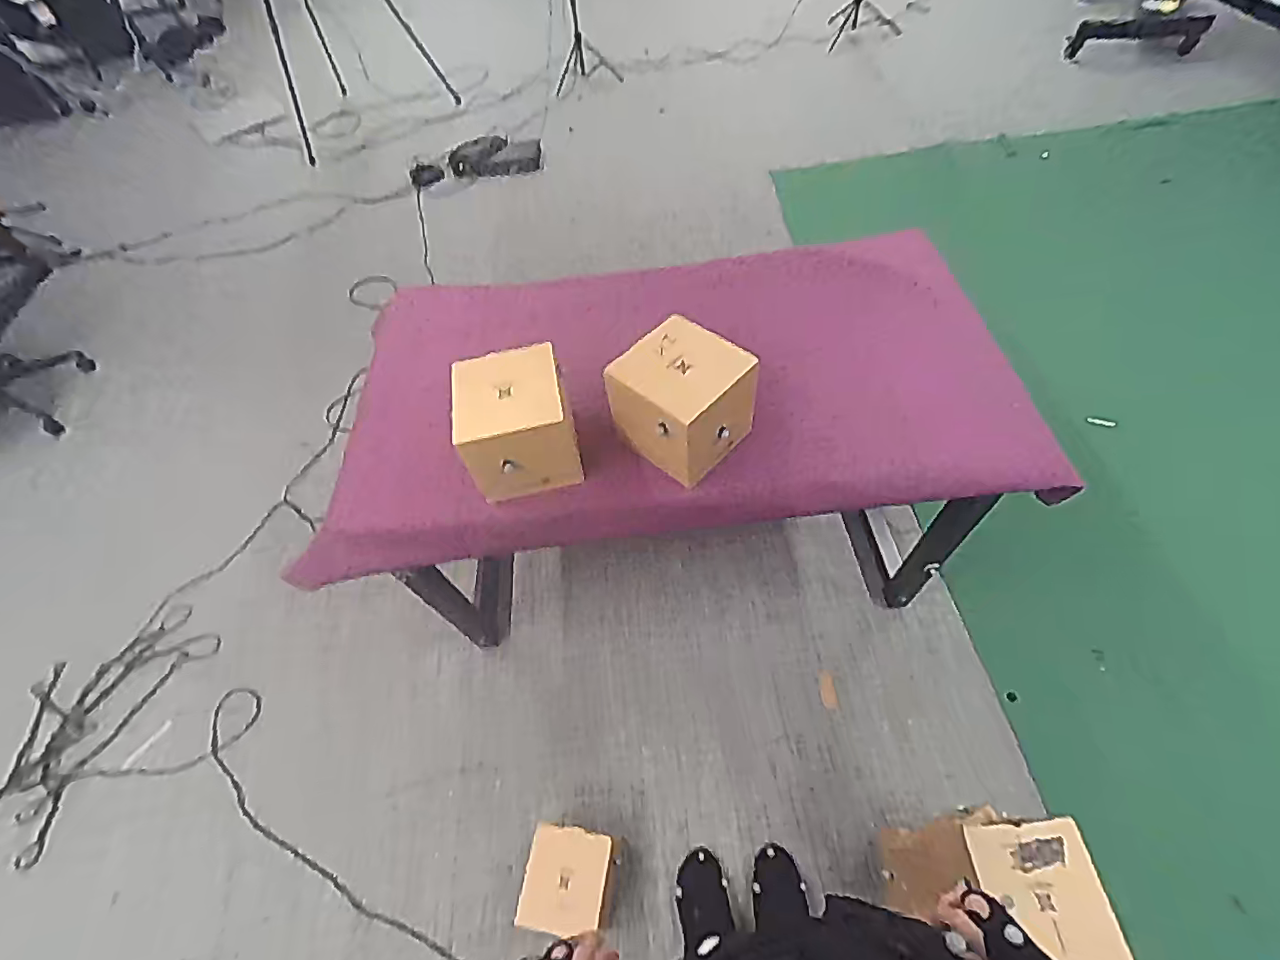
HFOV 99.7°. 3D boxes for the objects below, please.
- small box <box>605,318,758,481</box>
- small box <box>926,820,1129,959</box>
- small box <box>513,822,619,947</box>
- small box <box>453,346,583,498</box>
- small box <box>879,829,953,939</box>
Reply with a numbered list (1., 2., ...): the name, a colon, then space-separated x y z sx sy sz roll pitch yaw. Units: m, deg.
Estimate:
1. small box: 0.069 -0.123 0.883 0.179 0.176 0.168 37 67 27
2. small box: 0.563 0.622 0.815 0.168 0.176 0.179 -5 57 2
3. small box: -0.146 0.844 1.143 0.168 0.176 0.179 6 58 11
4. small box: -0.197 -0.087 0.891 0.168 0.176 0.179 -13 54 -2
5. small box: 0.594 0.809 1.084 0.179 0.176 0.168 1 57 8
